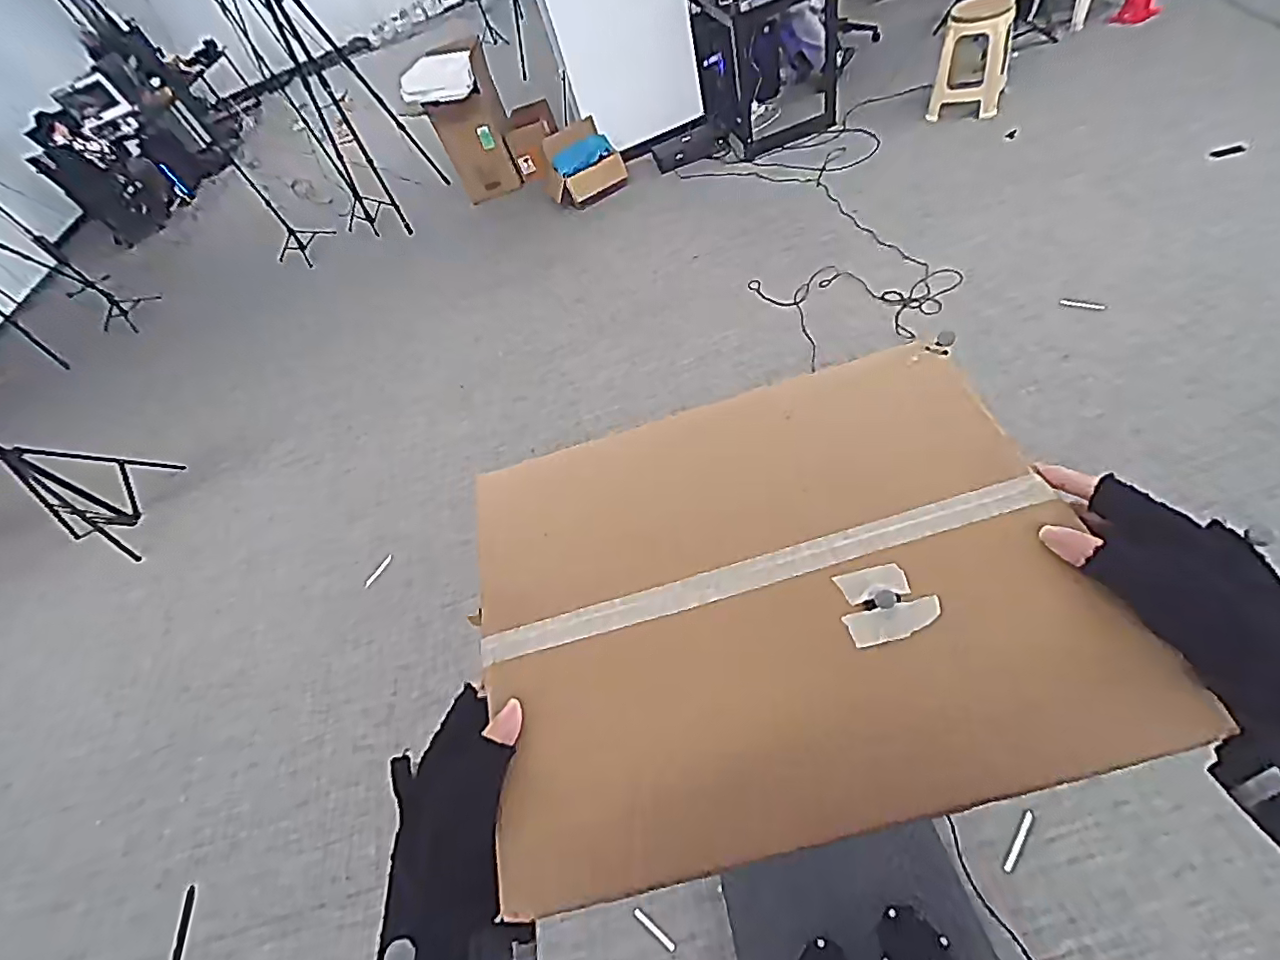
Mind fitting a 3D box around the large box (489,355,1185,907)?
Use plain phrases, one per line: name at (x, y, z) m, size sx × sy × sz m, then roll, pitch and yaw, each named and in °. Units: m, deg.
large box at (0.115, 0.150, 0.515) m, size 0.408 × 0.320 × 0.320 m, roll -17°, pitch 57°, yaw 3°
